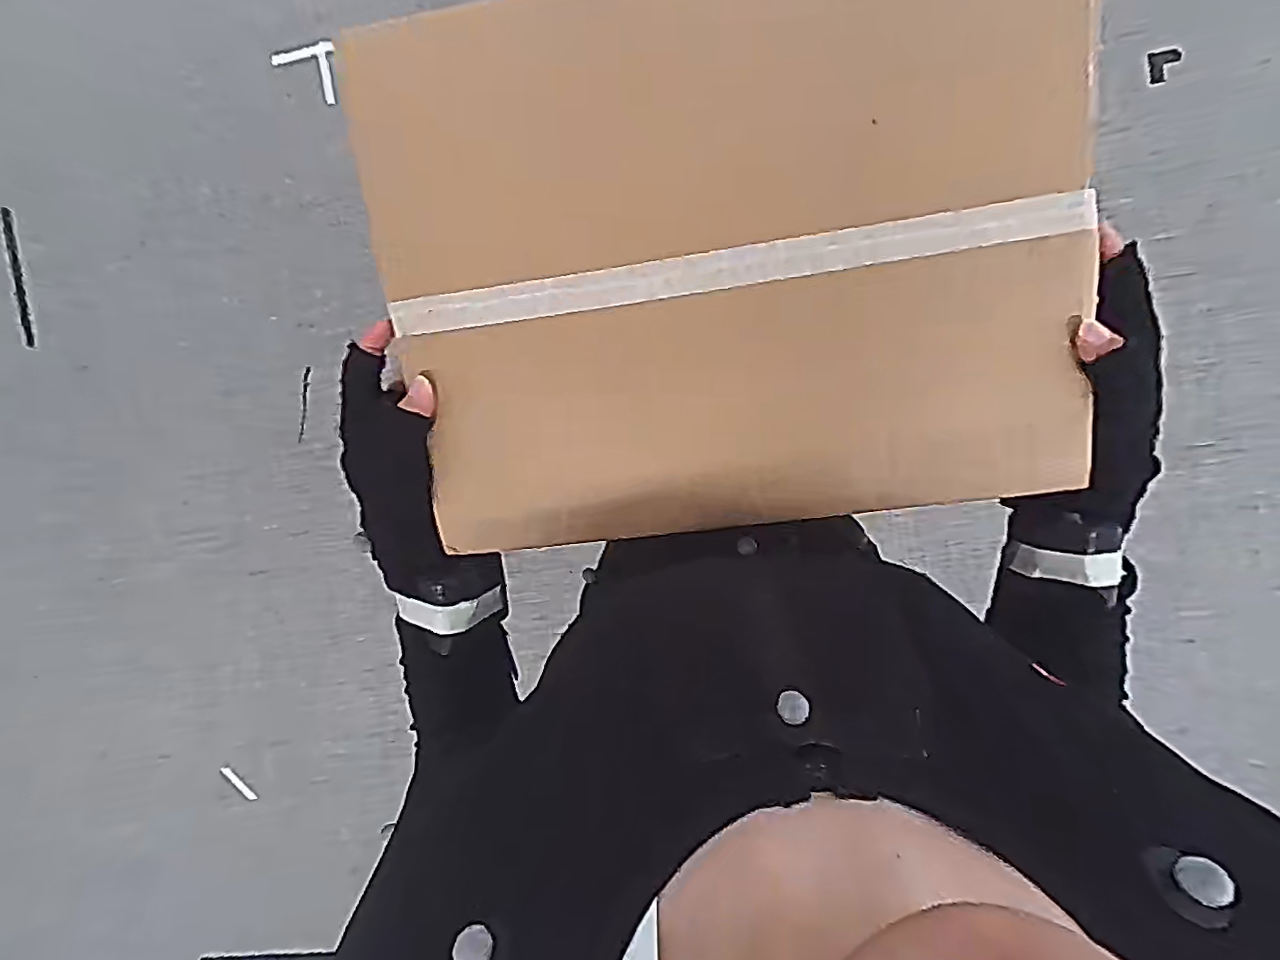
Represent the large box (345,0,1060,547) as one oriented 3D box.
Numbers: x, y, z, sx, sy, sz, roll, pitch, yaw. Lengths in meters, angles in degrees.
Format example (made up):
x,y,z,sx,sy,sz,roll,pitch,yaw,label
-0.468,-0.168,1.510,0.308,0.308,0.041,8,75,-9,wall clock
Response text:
x,y,z,sx,sy,sz,roll,pitch,yaw,label
0.053,-0.159,0.473,0.408,0.320,0.320,-7,101,6,large box
